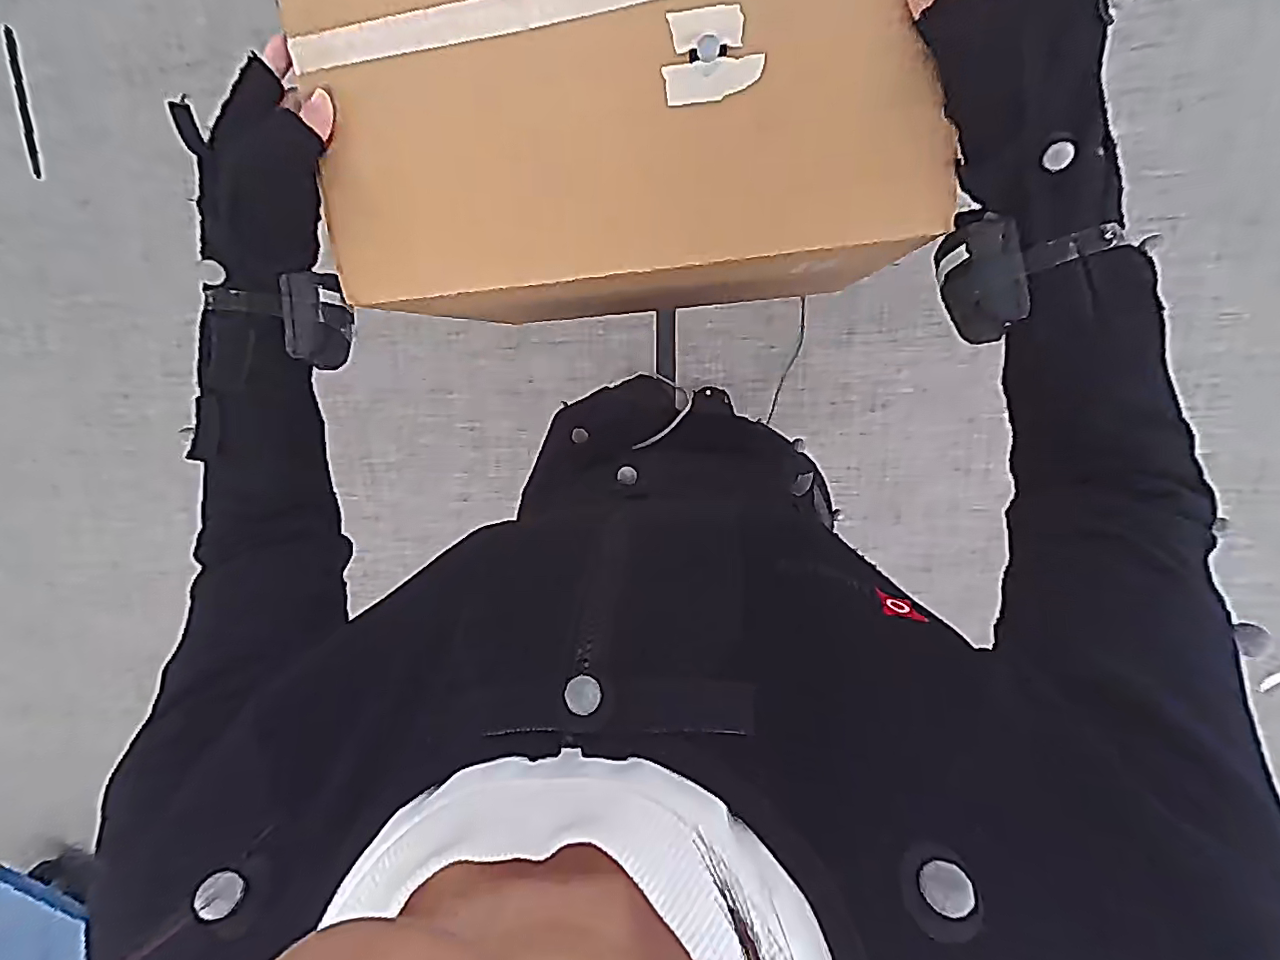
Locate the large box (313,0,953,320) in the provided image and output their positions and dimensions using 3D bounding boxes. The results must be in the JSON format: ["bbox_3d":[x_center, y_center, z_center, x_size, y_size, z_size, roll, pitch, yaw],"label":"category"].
[{"bbox_3d":[0.000,-0.332,0.477,0.408,0.320,0.320,-4,103,9],"label":"large box"}]
